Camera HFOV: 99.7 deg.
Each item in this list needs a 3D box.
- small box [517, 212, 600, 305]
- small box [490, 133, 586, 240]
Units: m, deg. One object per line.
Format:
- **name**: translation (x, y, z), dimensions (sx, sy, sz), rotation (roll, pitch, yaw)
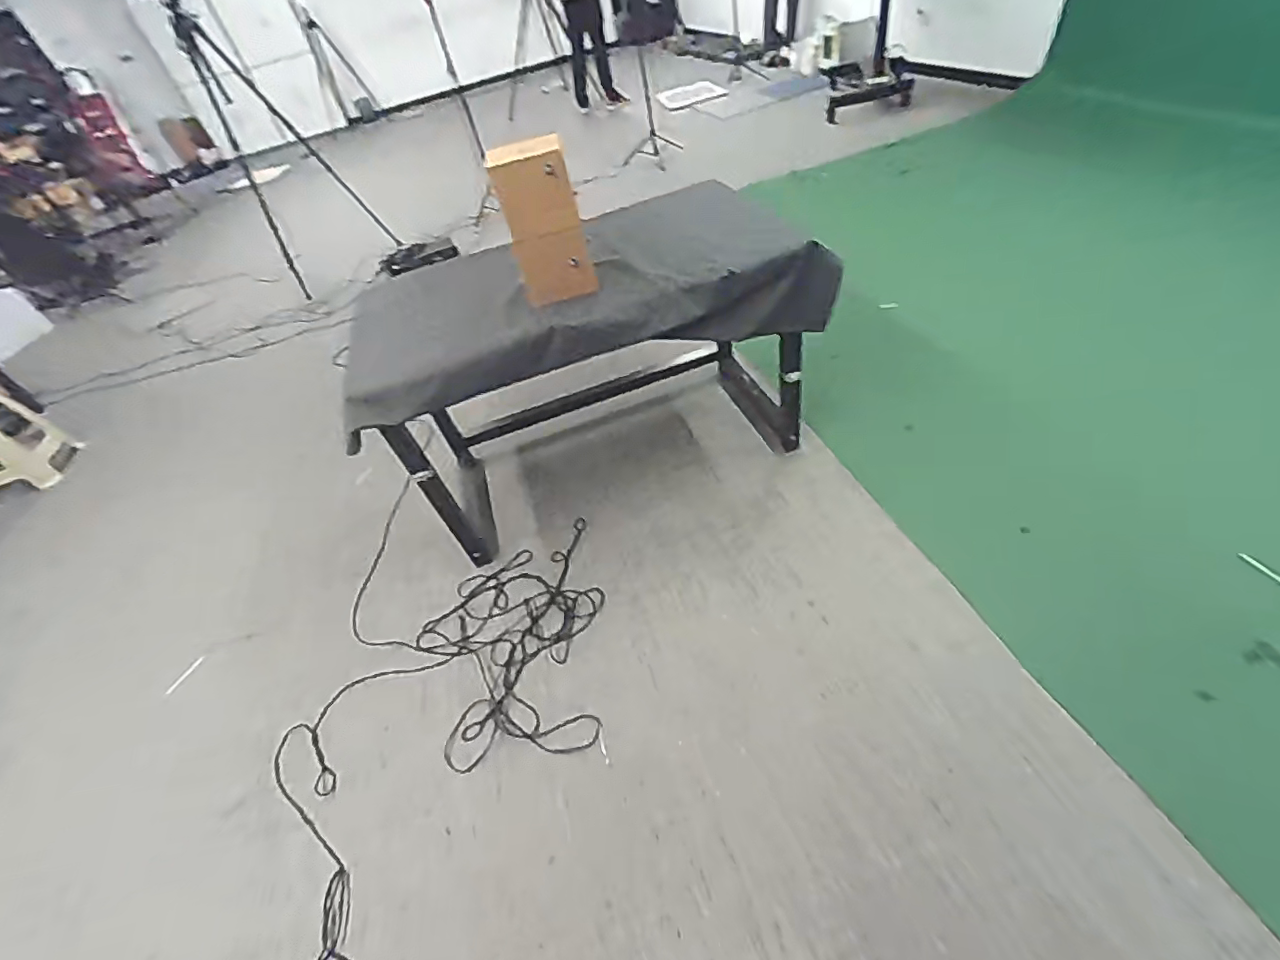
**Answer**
- **small box**: translation (-0.205, -0.576, 1.391), dimensions (0.179, 0.176, 0.168), rotation (-15, 44, 2)
- **small box**: translation (-0.237, -0.691, 1.280), dimensions (0.179, 0.176, 0.168), rotation (-14, 44, 1)
